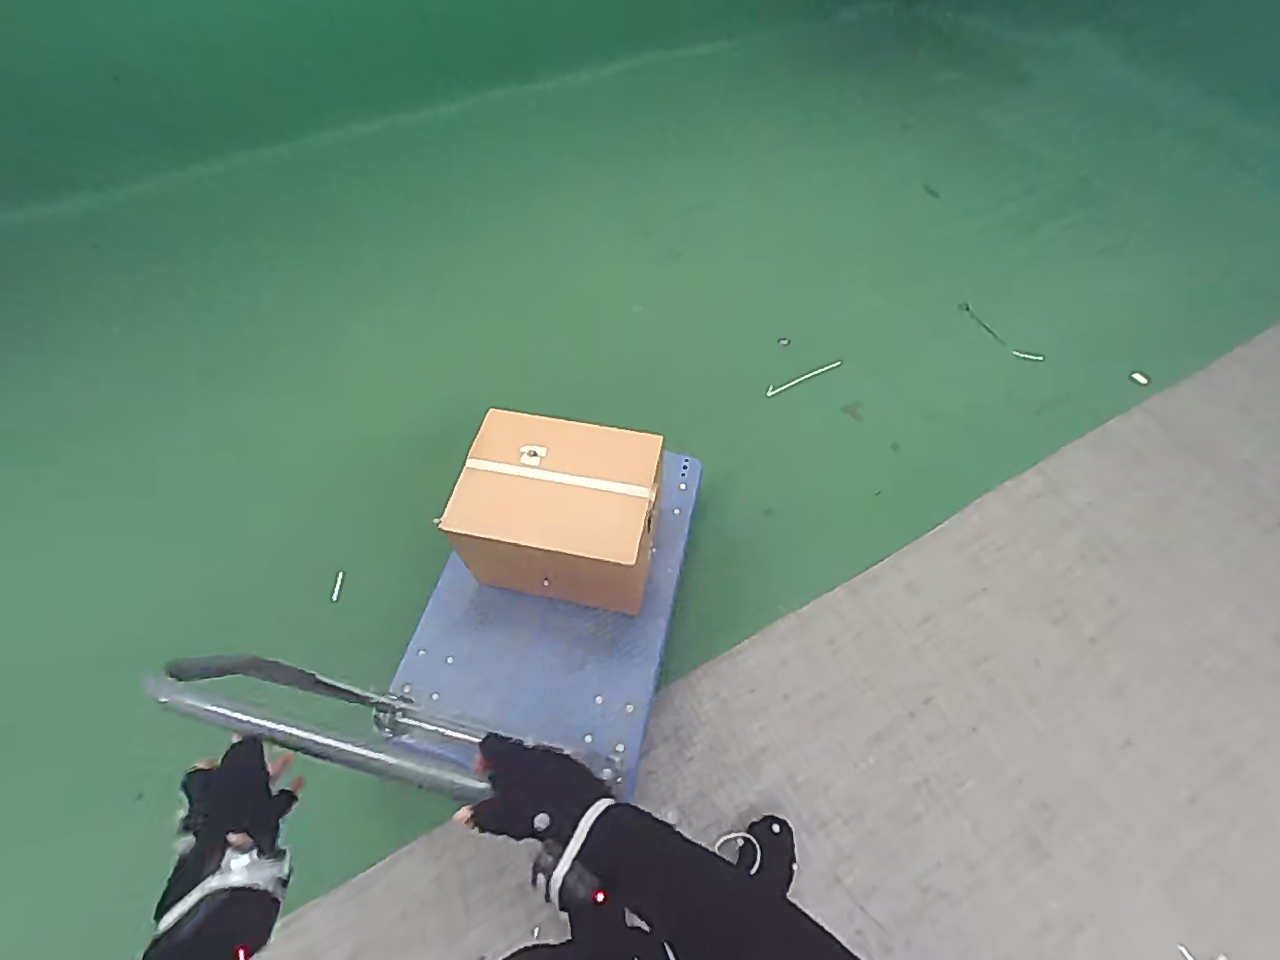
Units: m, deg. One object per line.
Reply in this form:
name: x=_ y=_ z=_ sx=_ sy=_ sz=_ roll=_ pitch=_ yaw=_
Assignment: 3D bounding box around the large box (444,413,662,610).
large box: x=-0.167 y=0.081 z=1.262 sx=0.408 sy=0.320 sz=0.320 roll=10 pitch=58 yaw=8
